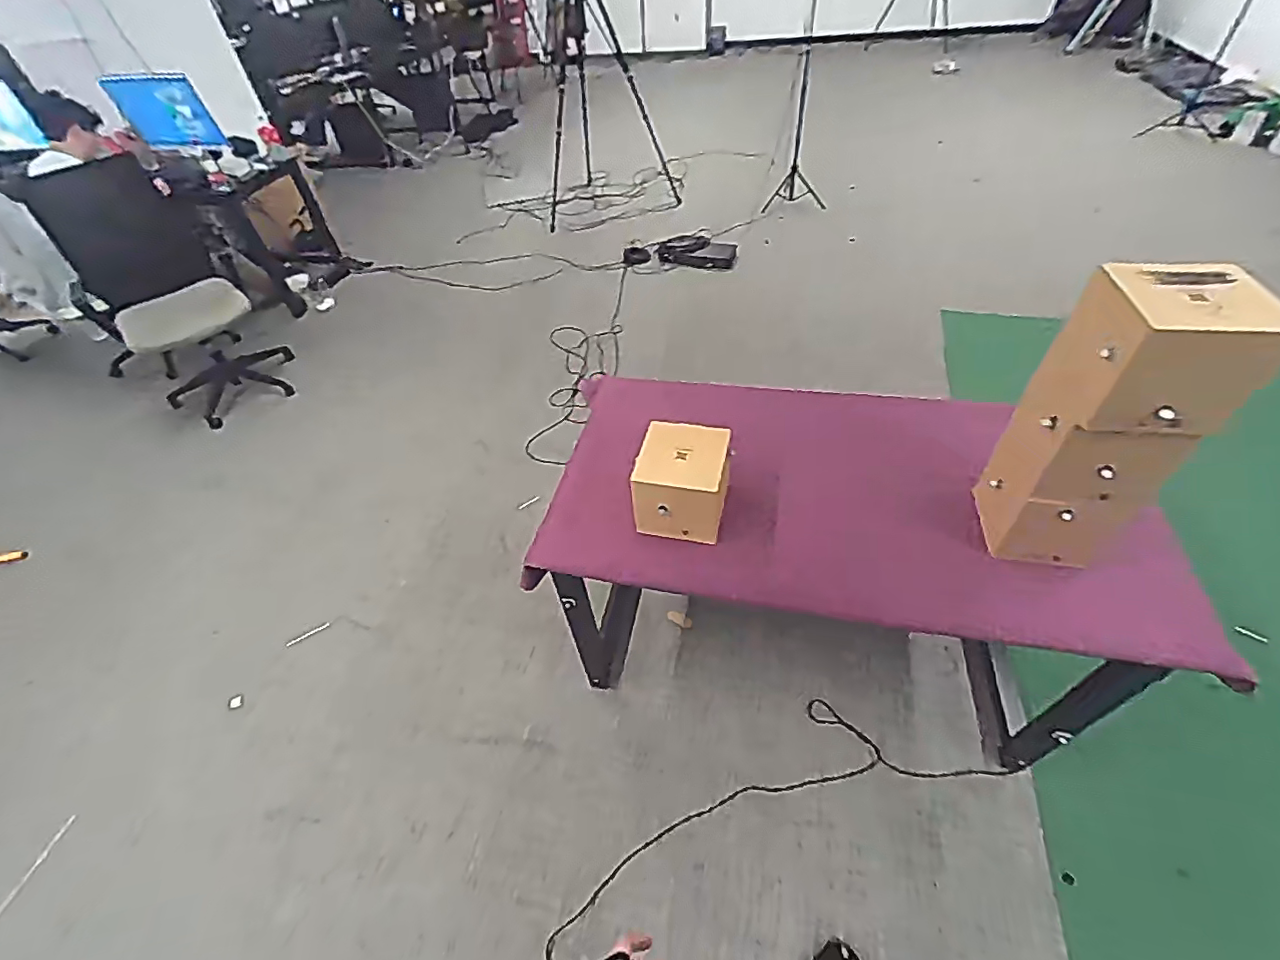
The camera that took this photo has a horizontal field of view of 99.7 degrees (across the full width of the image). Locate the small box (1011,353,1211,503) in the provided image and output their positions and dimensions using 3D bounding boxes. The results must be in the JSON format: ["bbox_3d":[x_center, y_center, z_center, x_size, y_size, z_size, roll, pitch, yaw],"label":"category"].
[{"bbox_3d":[0.737,-0.083,0.874,0.168,0.176,0.179,7,48,13],"label":"small box"}]

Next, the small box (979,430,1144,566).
[{"bbox_3d":[0.751,0.031,0.992,0.168,0.176,0.179,5,47,13],"label":"small box"}]

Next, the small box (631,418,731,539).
[{"bbox_3d":[0.089,-0.002,1.100,0.168,0.176,0.179,8,48,14],"label":"small box"}]
